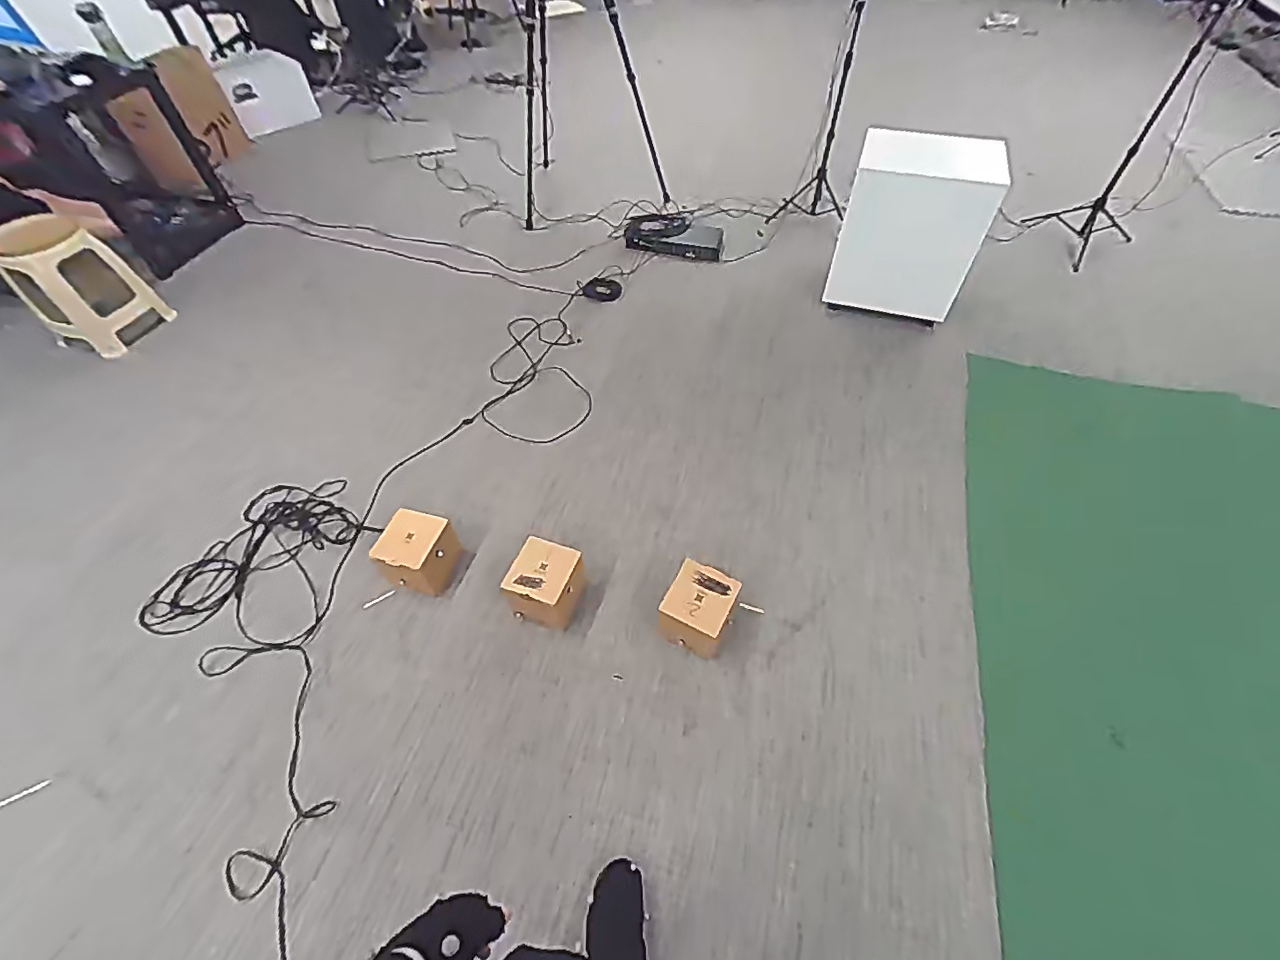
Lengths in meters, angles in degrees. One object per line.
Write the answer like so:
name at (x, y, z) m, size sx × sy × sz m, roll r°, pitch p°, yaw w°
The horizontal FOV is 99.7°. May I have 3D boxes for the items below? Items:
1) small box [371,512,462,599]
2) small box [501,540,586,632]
small box at (-0.652, 0.225, 1.604) m, size 0.168 × 0.176 × 0.179 m, roll 11°, pitch 53°, yaw 11°
small box at (-0.263, 0.303, 1.529) m, size 0.168 × 0.176 × 0.179 m, roll 16°, pitch 53°, yaw 14°
